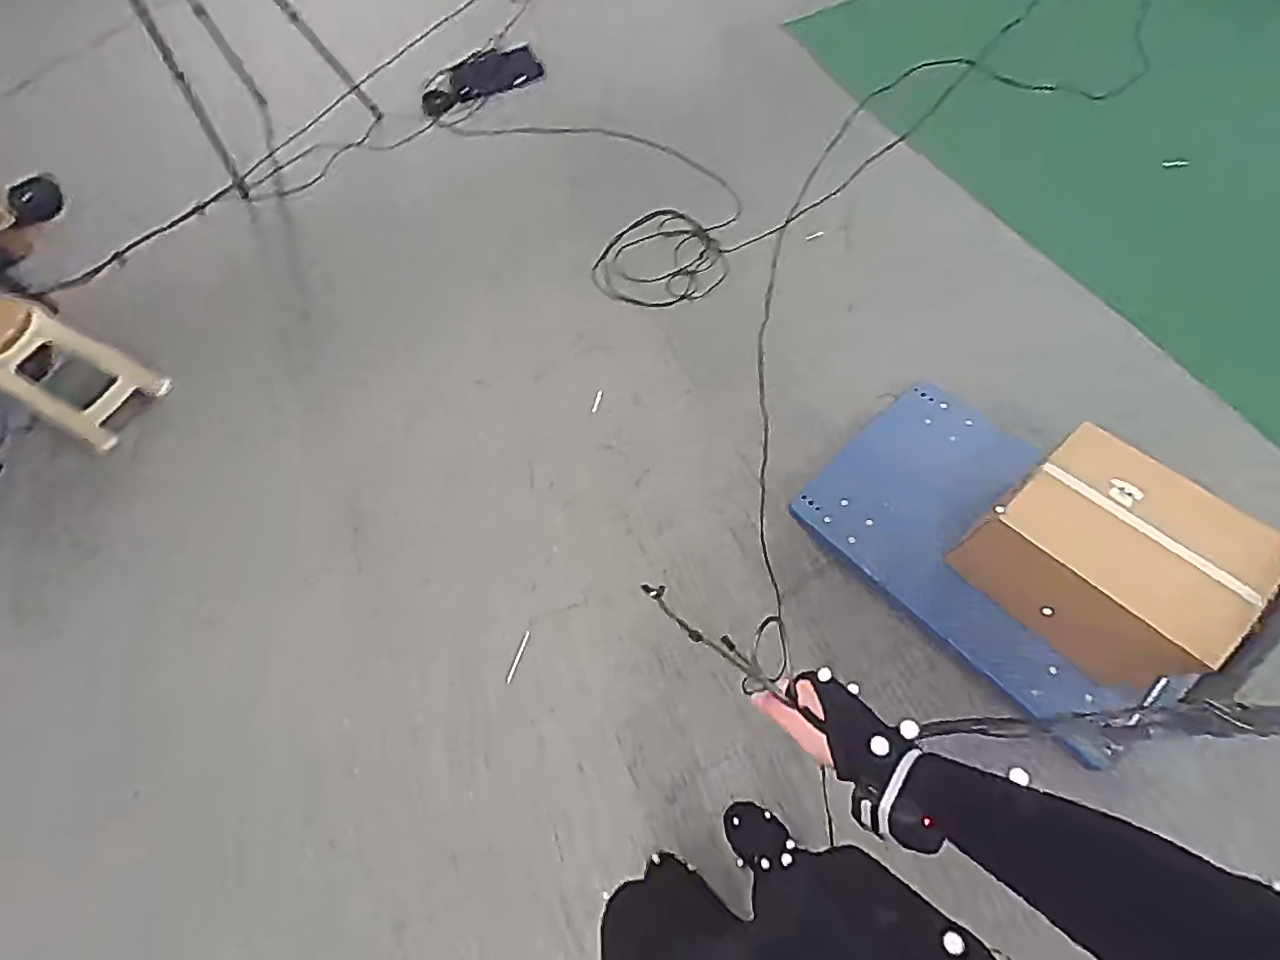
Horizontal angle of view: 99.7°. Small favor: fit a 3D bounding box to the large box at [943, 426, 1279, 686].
[{"bbox_3d":[0.964,0.170,1.154,0.320,0.320,0.408,-41,65,-12],"label":"large box"}]
